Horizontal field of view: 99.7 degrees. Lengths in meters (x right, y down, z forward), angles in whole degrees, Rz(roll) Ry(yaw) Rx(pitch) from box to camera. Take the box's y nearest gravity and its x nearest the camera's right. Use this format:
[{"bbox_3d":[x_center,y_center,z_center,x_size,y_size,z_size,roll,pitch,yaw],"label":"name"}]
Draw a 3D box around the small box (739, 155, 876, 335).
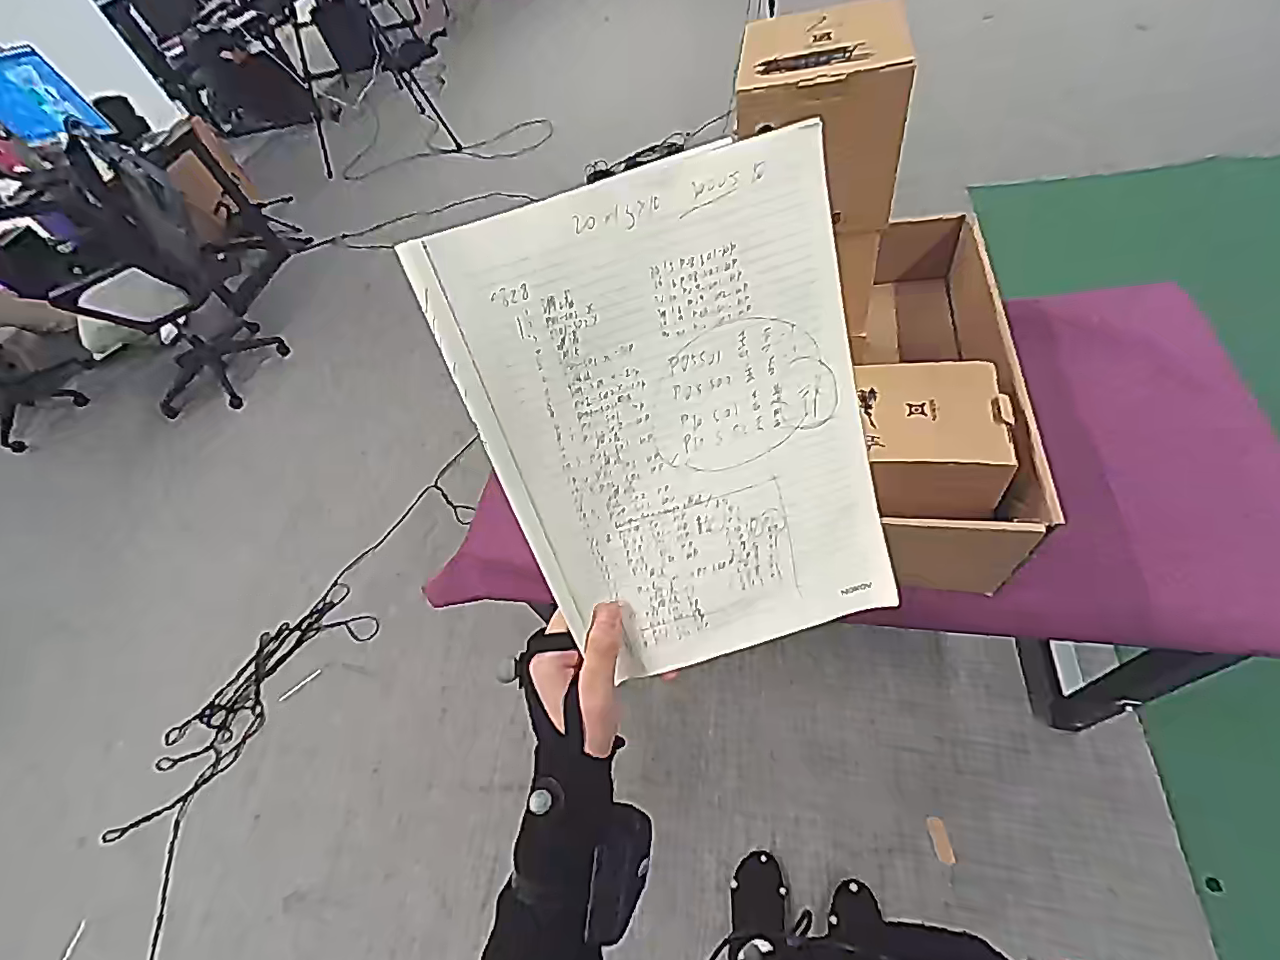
[{"bbox_3d":[0.237,-0.322,0.766,0.168,0.176,0.179,3,57,17],"label":"small box"}]
